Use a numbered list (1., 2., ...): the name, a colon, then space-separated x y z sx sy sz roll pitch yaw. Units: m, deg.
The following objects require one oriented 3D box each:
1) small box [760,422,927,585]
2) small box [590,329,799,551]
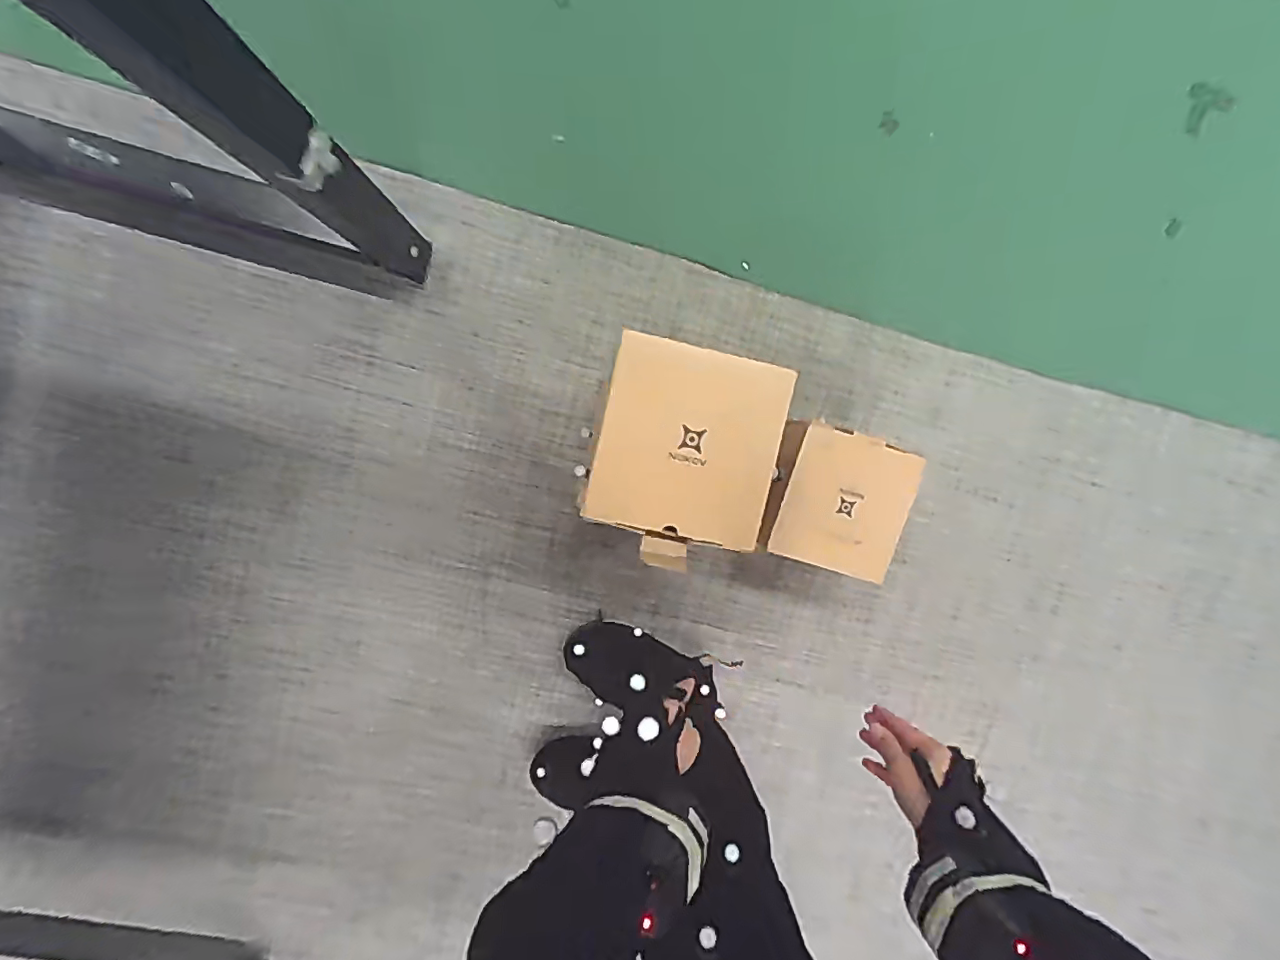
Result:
1. small box: 0.258 0.022 0.766 0.168 0.176 0.179 17 96 -6
2. small box: 0.042 -0.041 0.572 0.168 0.176 0.179 12 94 -7
